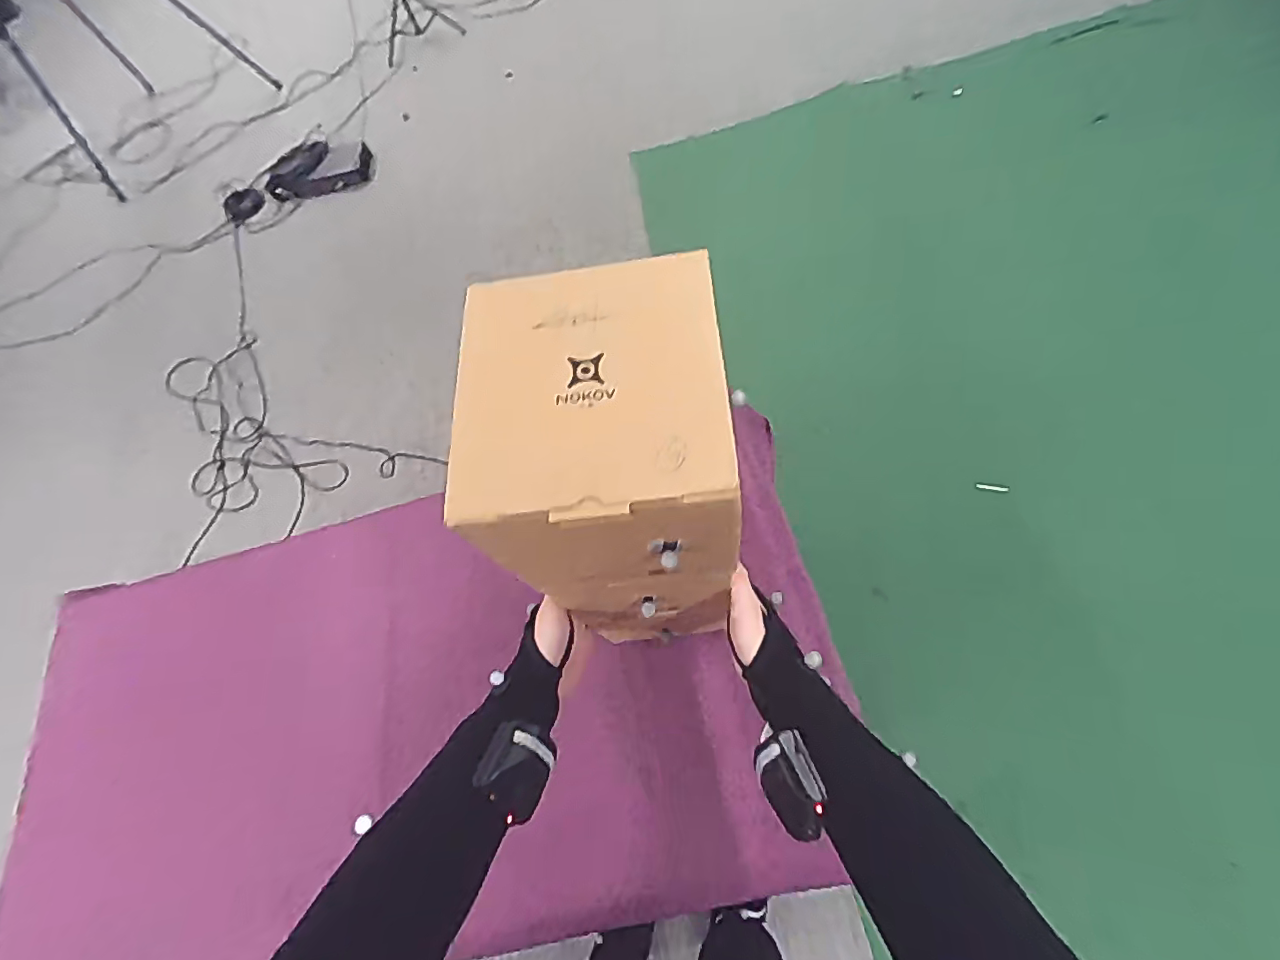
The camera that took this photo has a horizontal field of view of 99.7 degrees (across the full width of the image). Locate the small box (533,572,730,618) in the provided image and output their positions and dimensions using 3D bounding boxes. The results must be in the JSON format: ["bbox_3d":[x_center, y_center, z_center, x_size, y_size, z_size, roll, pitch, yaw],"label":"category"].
[{"bbox_3d":[-0.002,0.038,0.540,0.168,0.176,0.179,-7,67,6],"label":"small box"}]

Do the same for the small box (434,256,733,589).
[{"bbox_3d":[-0.023,-0.023,0.389,0.168,0.176,0.179,-6,65,7],"label":"small box"}]

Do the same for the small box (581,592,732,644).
[{"bbox_3d":[0.022,0.102,0.688,0.168,0.176,0.179,-9,66,7],"label":"small box"}]
